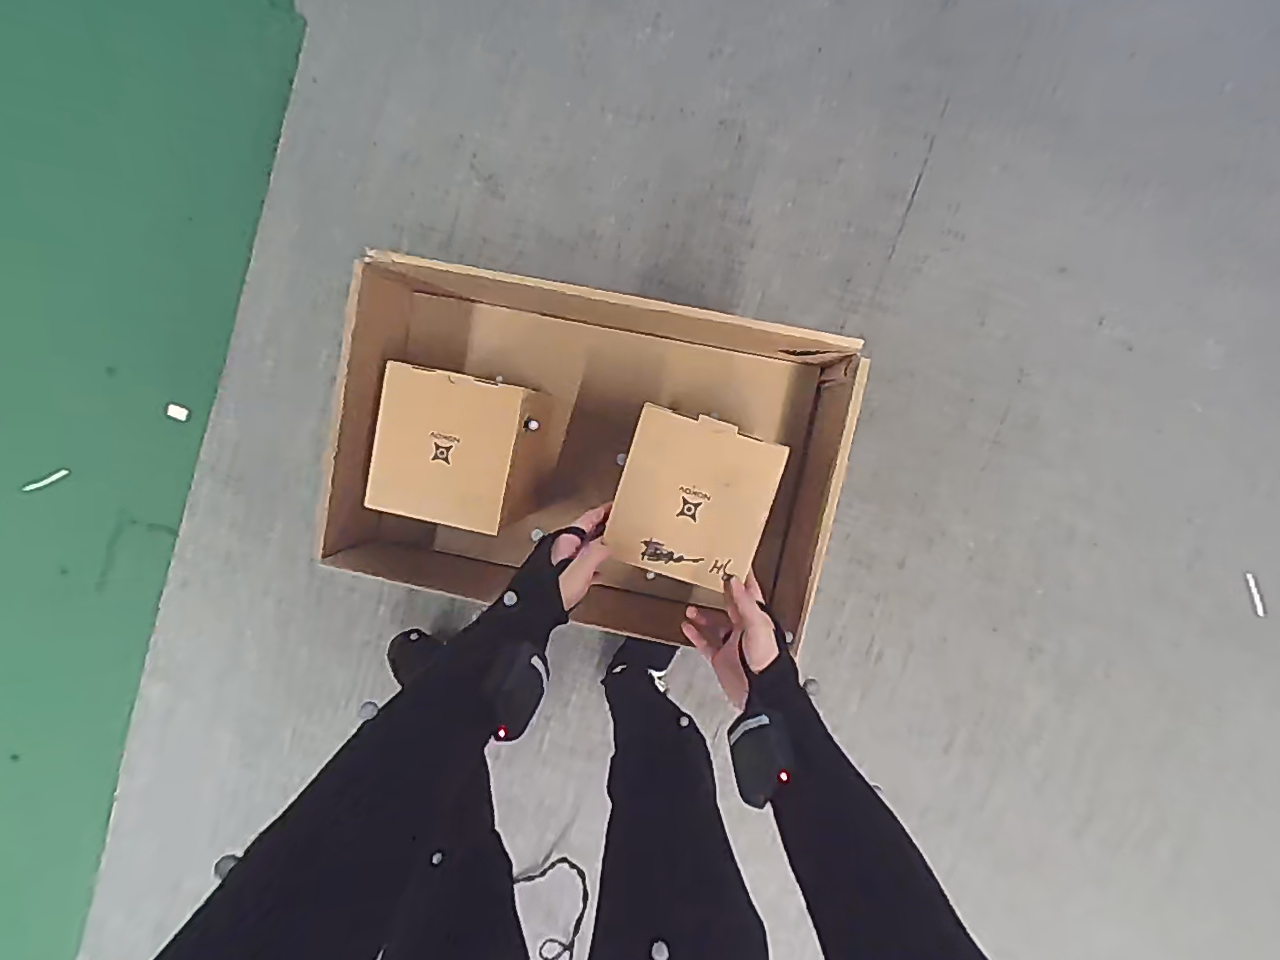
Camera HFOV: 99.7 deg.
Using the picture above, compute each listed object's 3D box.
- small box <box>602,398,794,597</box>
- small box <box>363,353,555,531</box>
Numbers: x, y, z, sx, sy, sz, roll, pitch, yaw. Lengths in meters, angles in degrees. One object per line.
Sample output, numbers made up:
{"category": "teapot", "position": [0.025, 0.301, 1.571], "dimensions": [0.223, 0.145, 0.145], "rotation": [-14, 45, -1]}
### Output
{"category": "small box", "position": [0.062, 0.014, 0.654], "dimensions": [0.168, 0.176, 0.179], "rotation": [18, 95, 1]}
{"category": "small box", "position": [-0.217, -0.048, 0.692], "dimensions": [0.168, 0.176, 0.179], "rotation": [13, 94, 3]}
